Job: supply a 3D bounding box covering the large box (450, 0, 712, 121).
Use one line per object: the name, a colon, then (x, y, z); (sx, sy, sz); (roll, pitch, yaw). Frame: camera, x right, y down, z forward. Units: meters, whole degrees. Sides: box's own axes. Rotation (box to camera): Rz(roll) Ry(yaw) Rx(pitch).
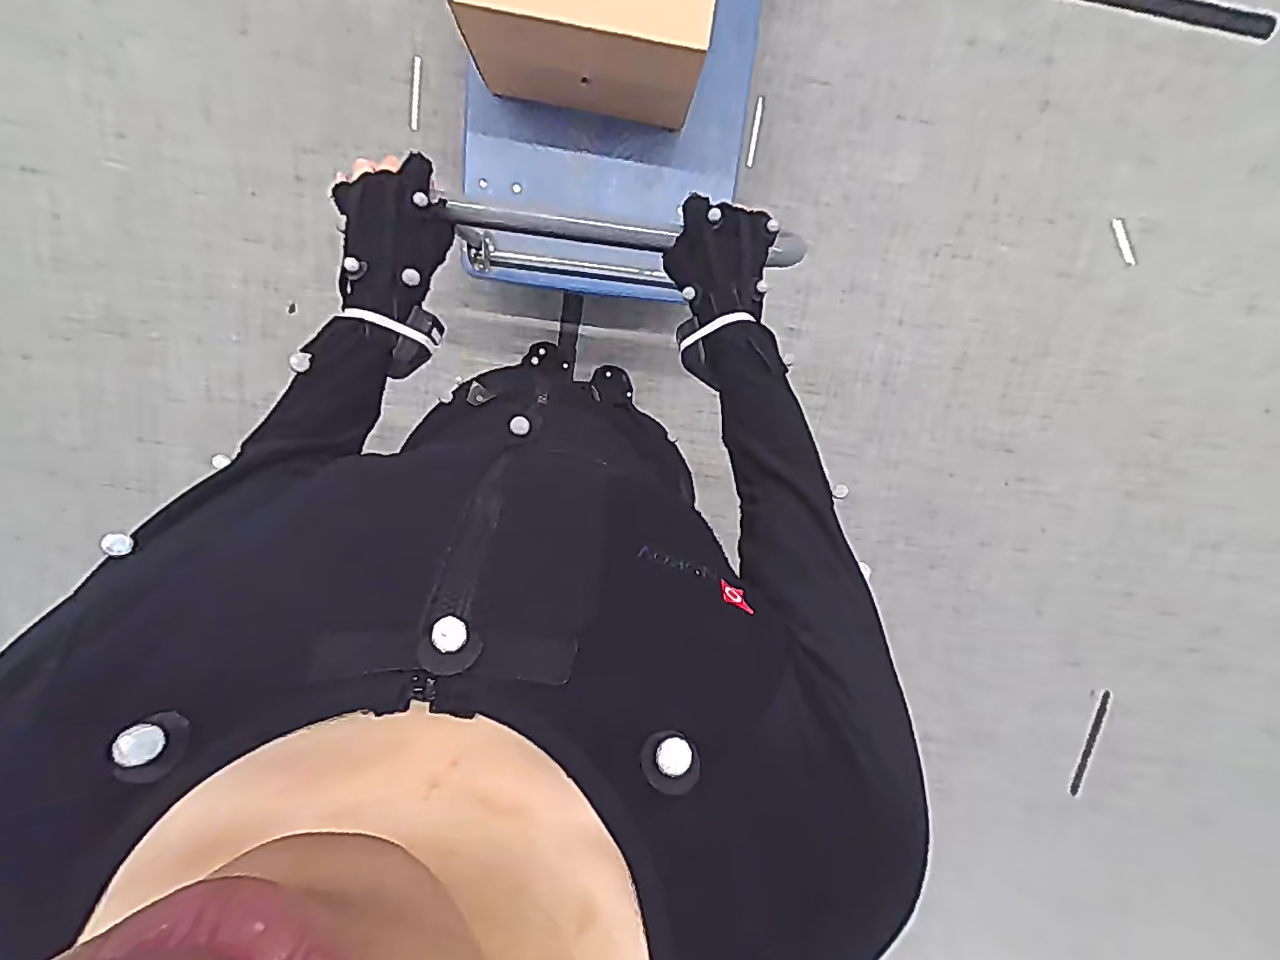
large box: (-0.080, -0.885, 0.949); (0.408, 0.320, 0.320); (8, 103, -4)
